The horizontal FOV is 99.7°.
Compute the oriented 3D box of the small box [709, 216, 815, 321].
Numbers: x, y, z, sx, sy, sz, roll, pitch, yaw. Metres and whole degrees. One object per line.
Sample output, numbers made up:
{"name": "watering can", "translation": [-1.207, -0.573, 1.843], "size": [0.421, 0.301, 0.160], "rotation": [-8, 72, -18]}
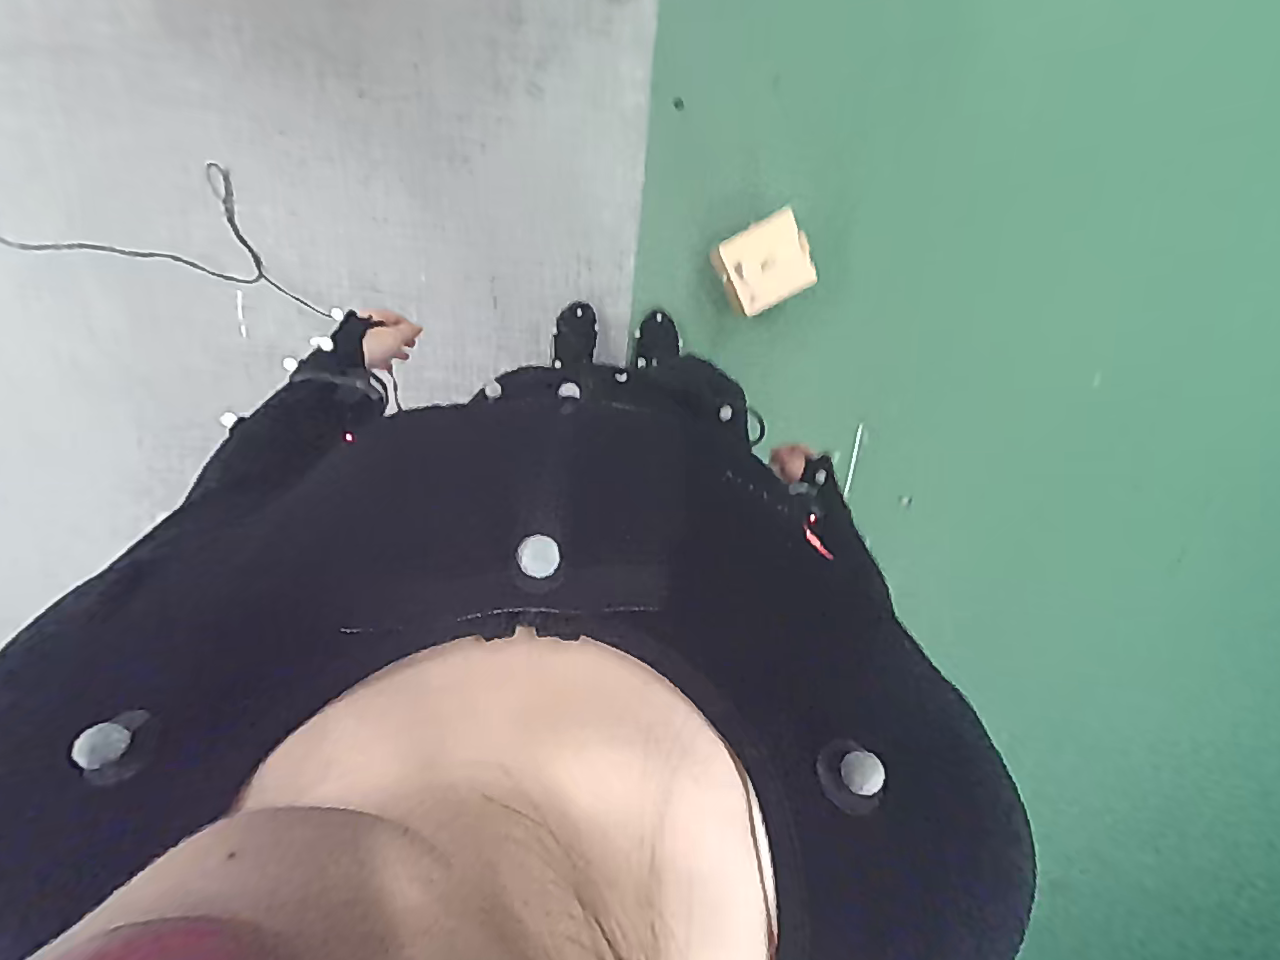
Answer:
{"name": "small box", "translation": [0.280, -0.491, 1.271], "size": [0.179, 0.176, 0.168], "rotation": [-26, 107, 7]}
